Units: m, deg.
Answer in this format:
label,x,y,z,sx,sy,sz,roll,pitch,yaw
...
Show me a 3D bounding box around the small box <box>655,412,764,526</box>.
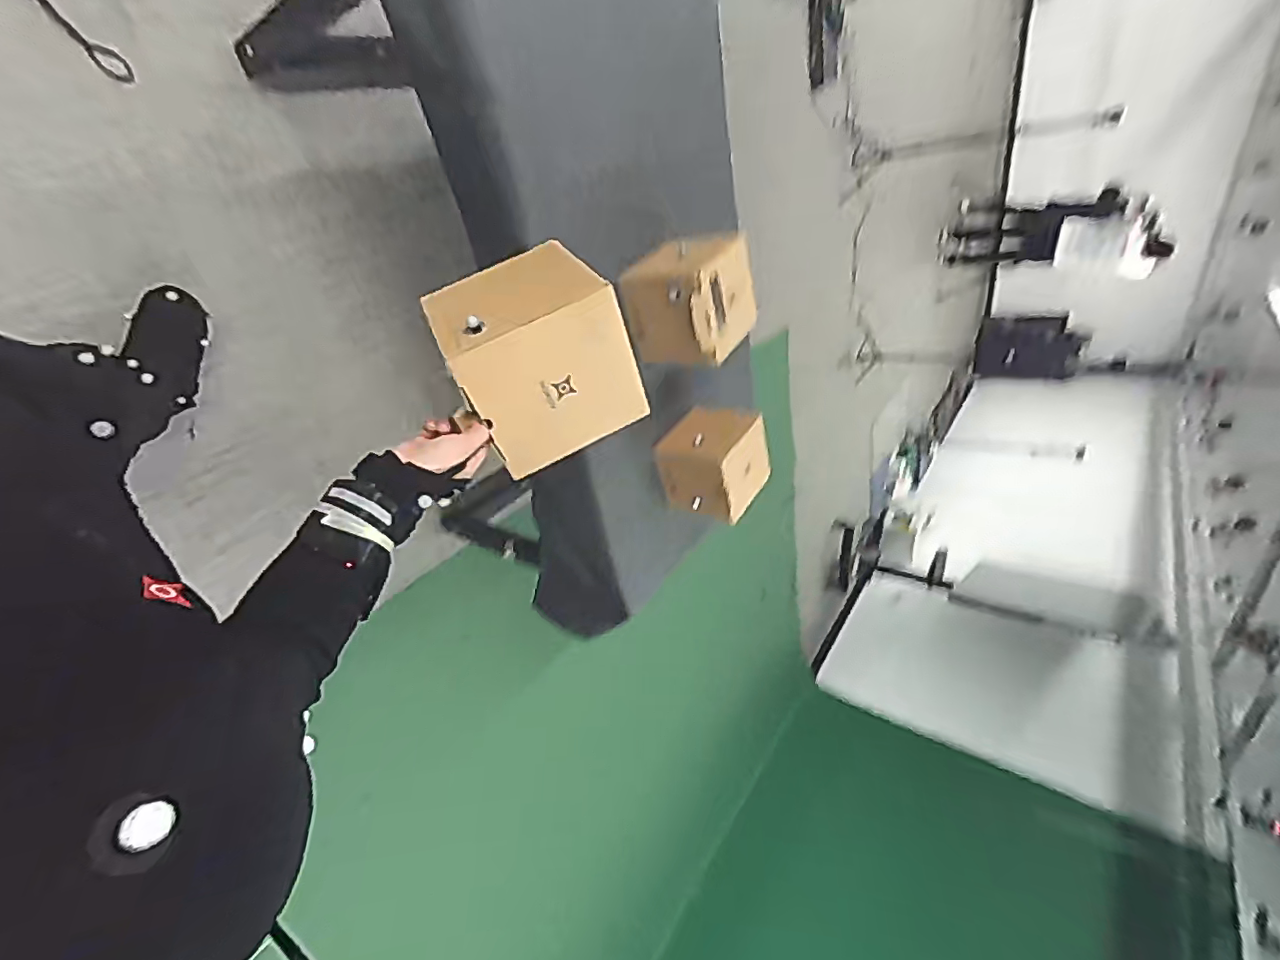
label,x,y,z,sx,sy,sz,roll,pitch,yaw
small box,0.147,-0.030,1.168,0.179,0.176,0.168,-47,135,-36
